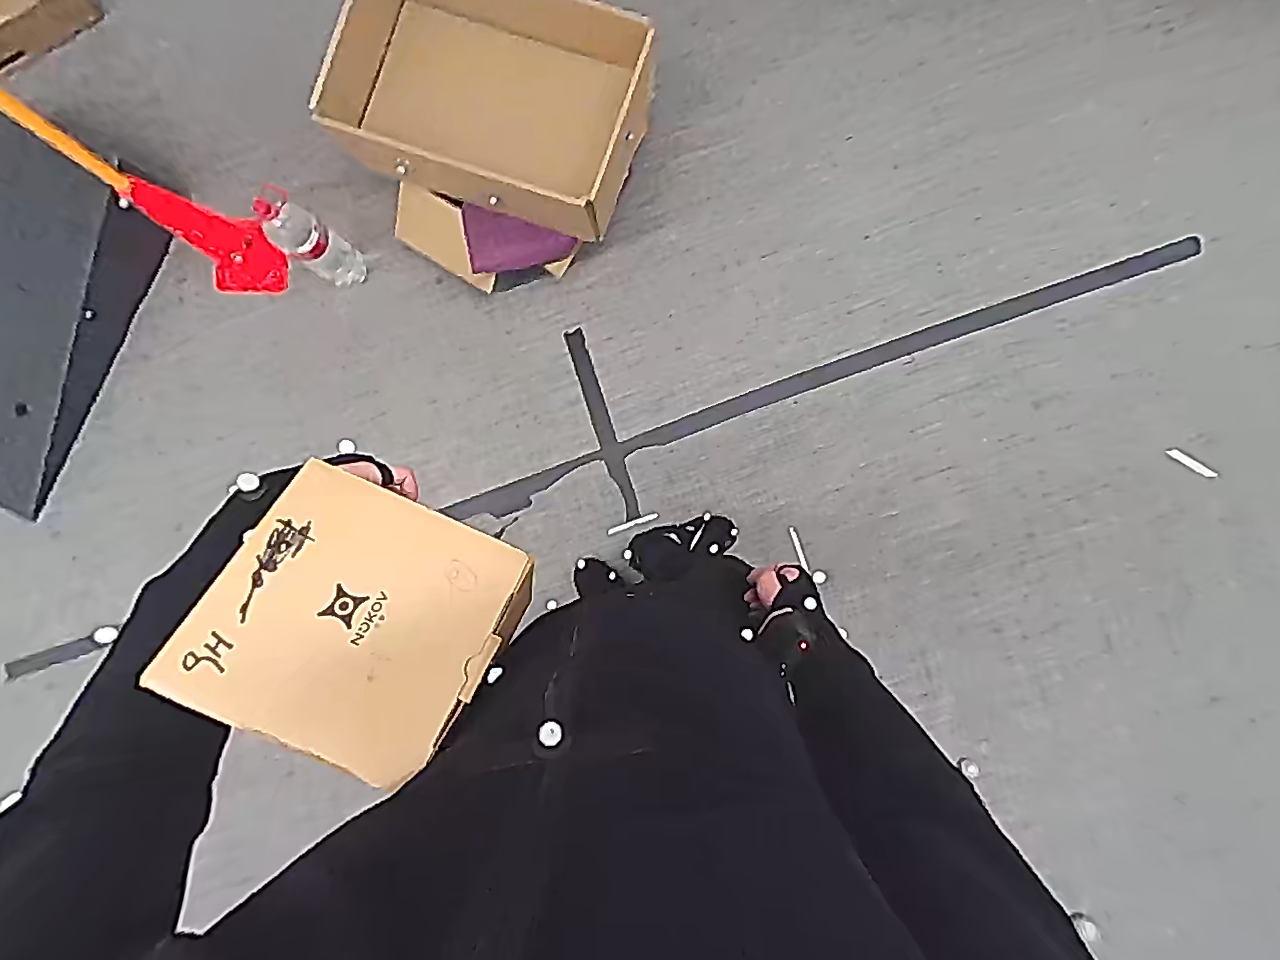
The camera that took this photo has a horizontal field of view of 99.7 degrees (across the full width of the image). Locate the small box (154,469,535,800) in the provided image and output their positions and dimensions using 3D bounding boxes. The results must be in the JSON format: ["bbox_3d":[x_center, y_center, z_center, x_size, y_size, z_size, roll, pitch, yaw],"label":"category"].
[{"bbox_3d":[-0.201,0.122,0.431,0.179,0.176,0.168,25,64,-2],"label":"small box"}]
